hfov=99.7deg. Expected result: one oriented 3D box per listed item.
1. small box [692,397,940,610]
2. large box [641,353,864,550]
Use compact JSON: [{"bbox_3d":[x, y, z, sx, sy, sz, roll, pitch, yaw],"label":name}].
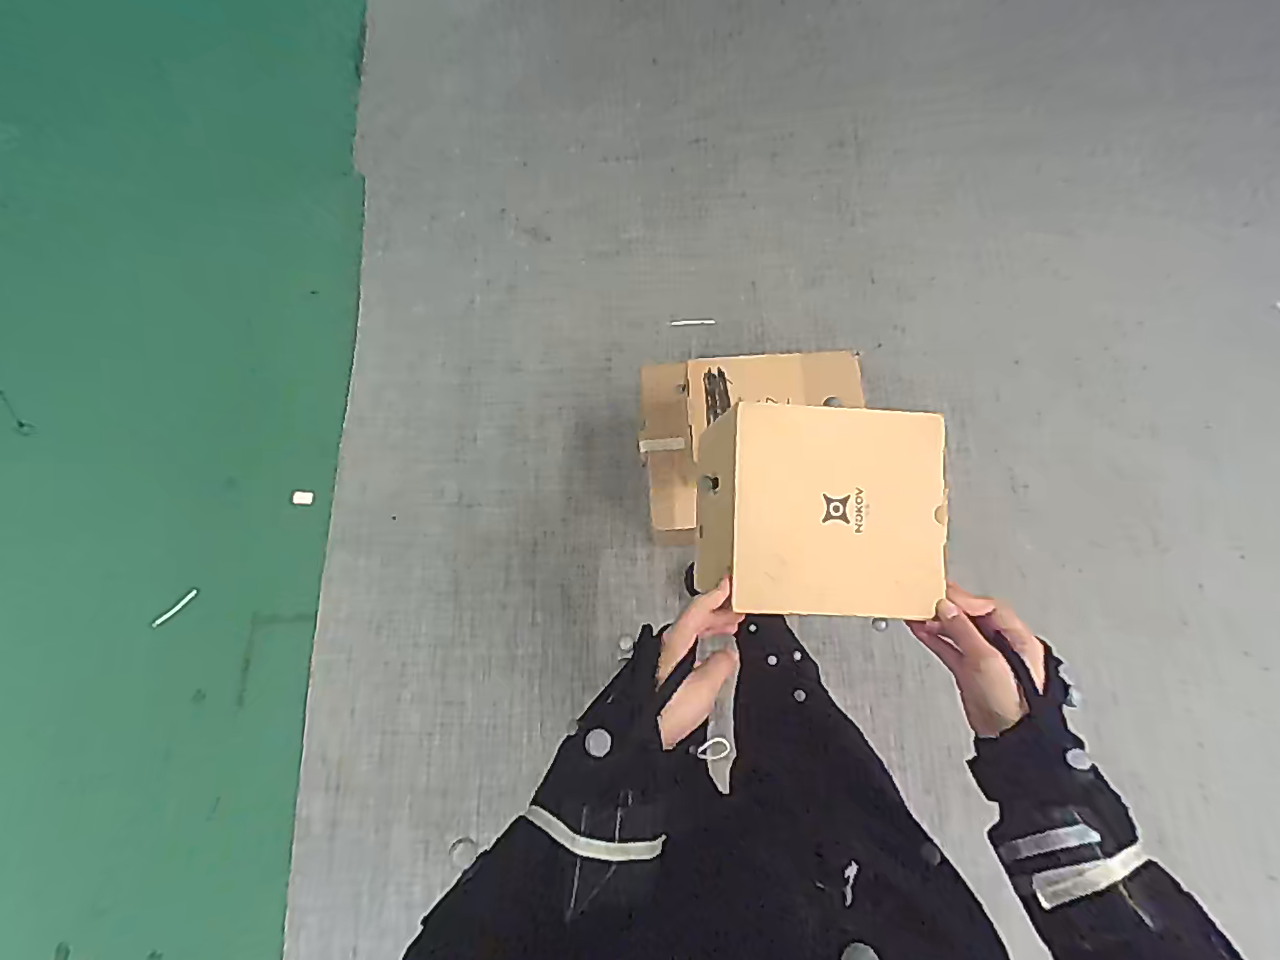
[{"bbox_3d":[0.147,0.027,0.508,0.179,0.176,0.168,3,84,-5],"label":"small box"},{"bbox_3d":[0.216,-0.038,1.119,0.408,0.320,0.320,-4,78,1],"label":"large box"}]
